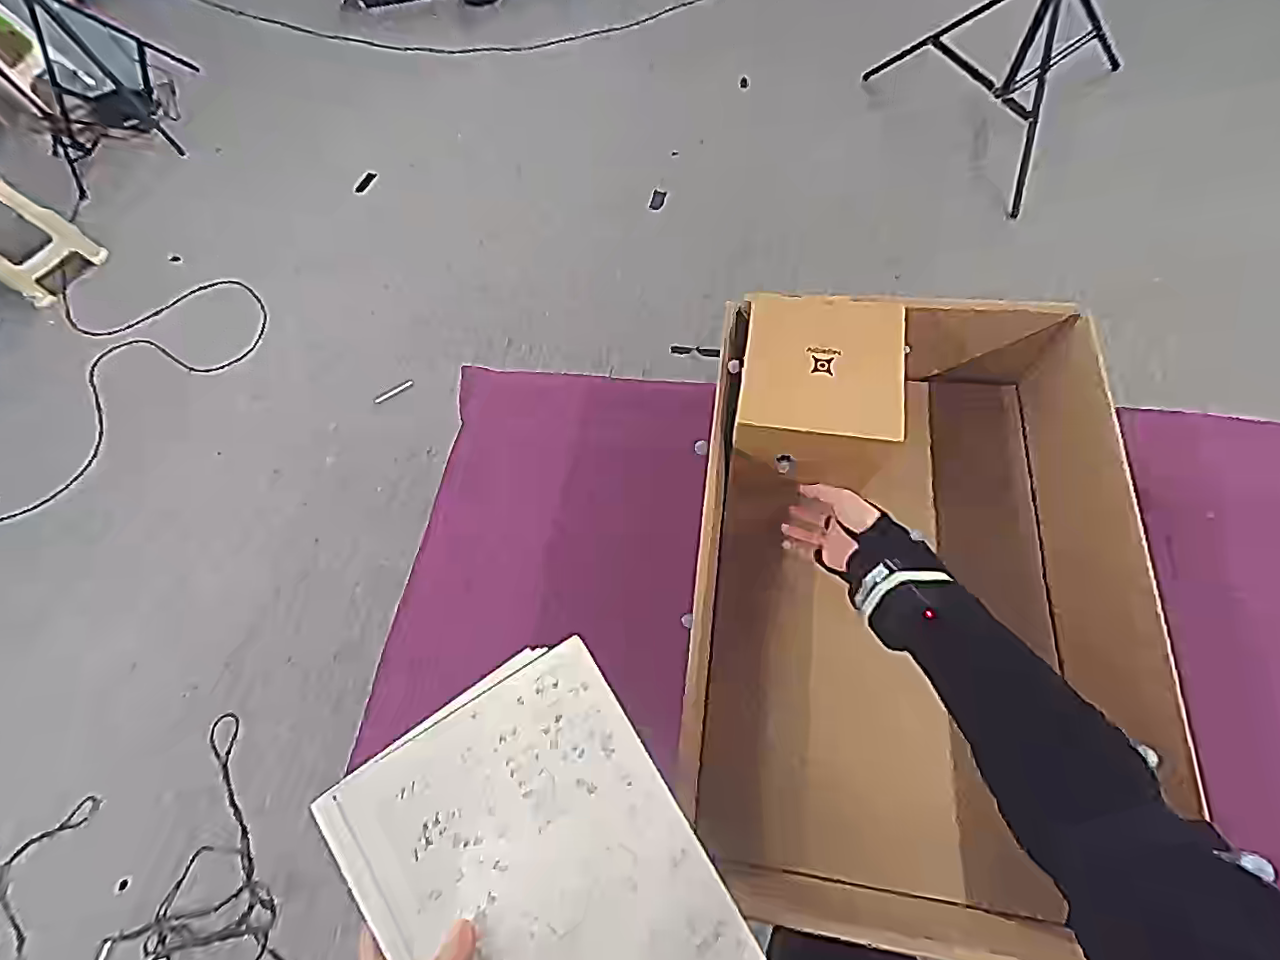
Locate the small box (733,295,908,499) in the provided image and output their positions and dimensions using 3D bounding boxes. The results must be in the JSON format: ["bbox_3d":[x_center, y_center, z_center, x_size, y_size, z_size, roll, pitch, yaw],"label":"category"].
[{"bbox_3d":[0.204,-0.091,0.643,0.168,0.176,0.179,7,67,9],"label":"small box"}]
